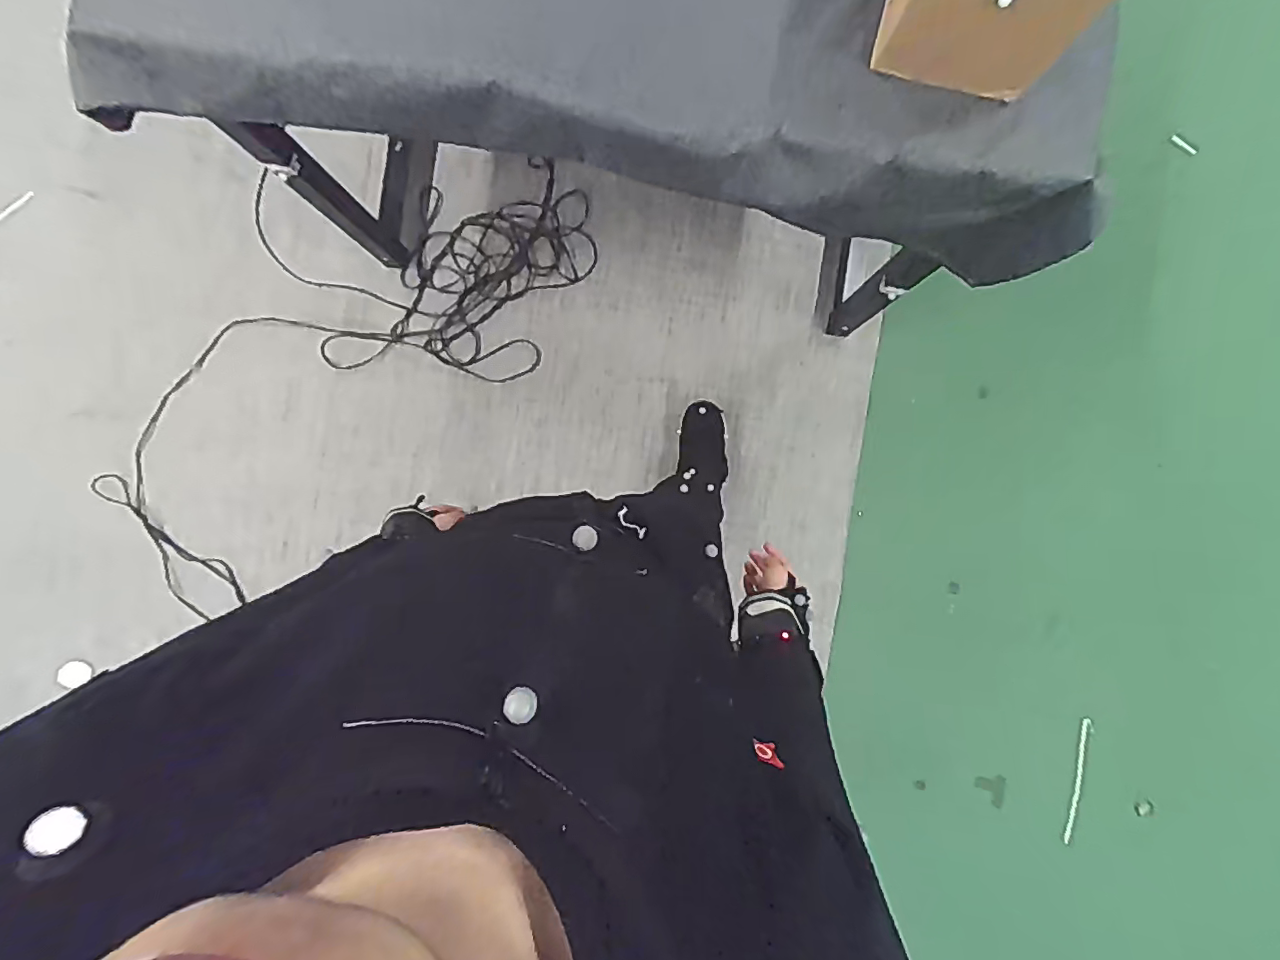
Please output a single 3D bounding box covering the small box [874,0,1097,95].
[{"bbox_3d":[0.366,-0.536,0.546,0.179,0.176,0.168,14,91,0],"label":"small box"}]
